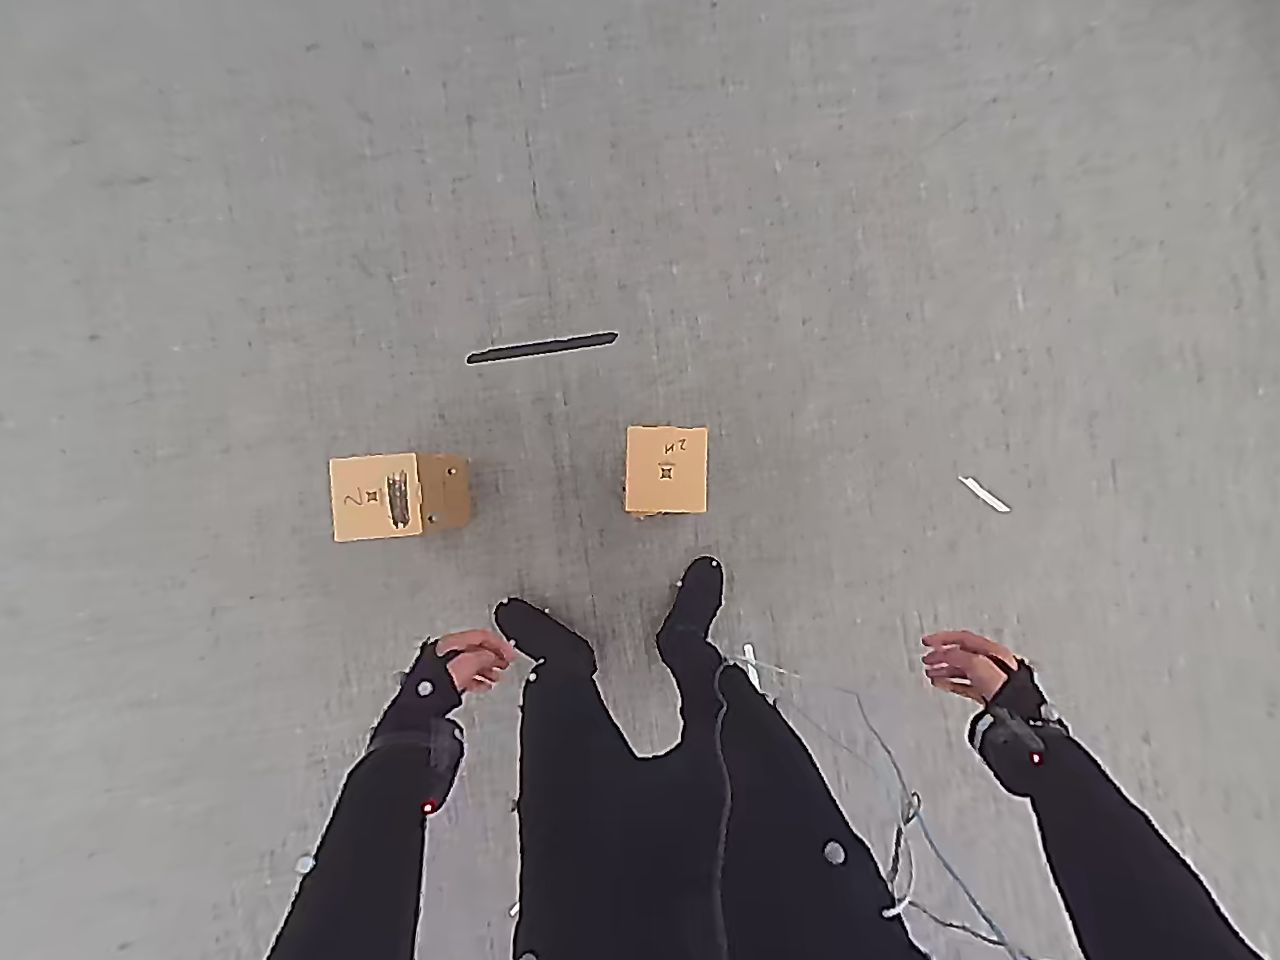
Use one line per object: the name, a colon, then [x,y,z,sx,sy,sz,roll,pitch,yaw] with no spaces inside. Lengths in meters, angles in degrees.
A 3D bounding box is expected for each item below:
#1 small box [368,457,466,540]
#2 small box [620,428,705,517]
small box: [-0.529,0.043,1.305,0.168,0.176,0.179,-6,88,-2]
small box: [0.043,-0.014,1.164,0.168,0.176,0.179,2,88,-3]
